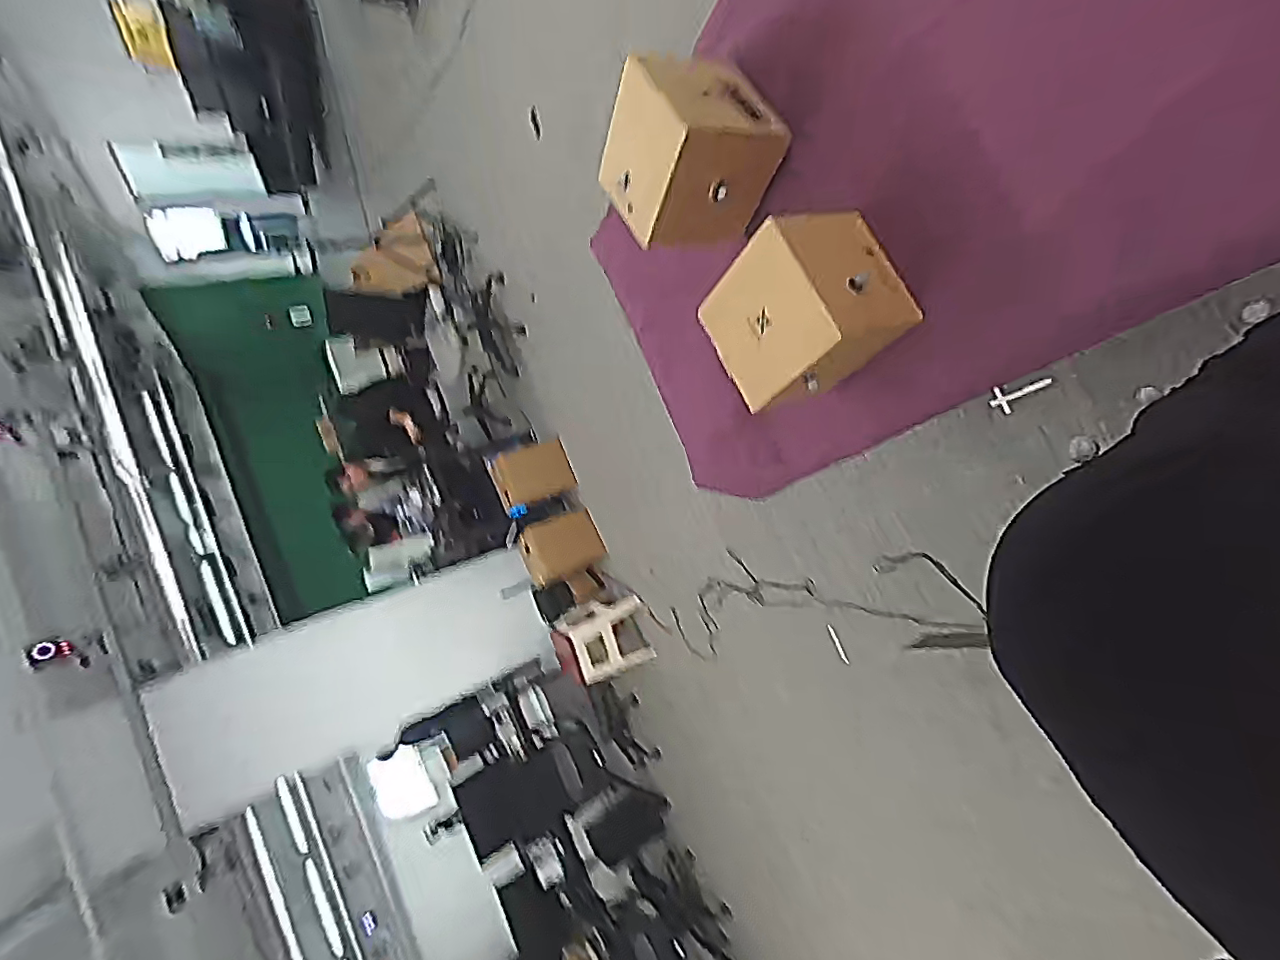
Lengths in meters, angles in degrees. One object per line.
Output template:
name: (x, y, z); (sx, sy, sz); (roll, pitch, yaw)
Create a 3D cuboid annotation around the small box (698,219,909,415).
small box: (0.213, -0.212, 0.700); (0.168, 0.176, 0.179); (63, 149, 12)
